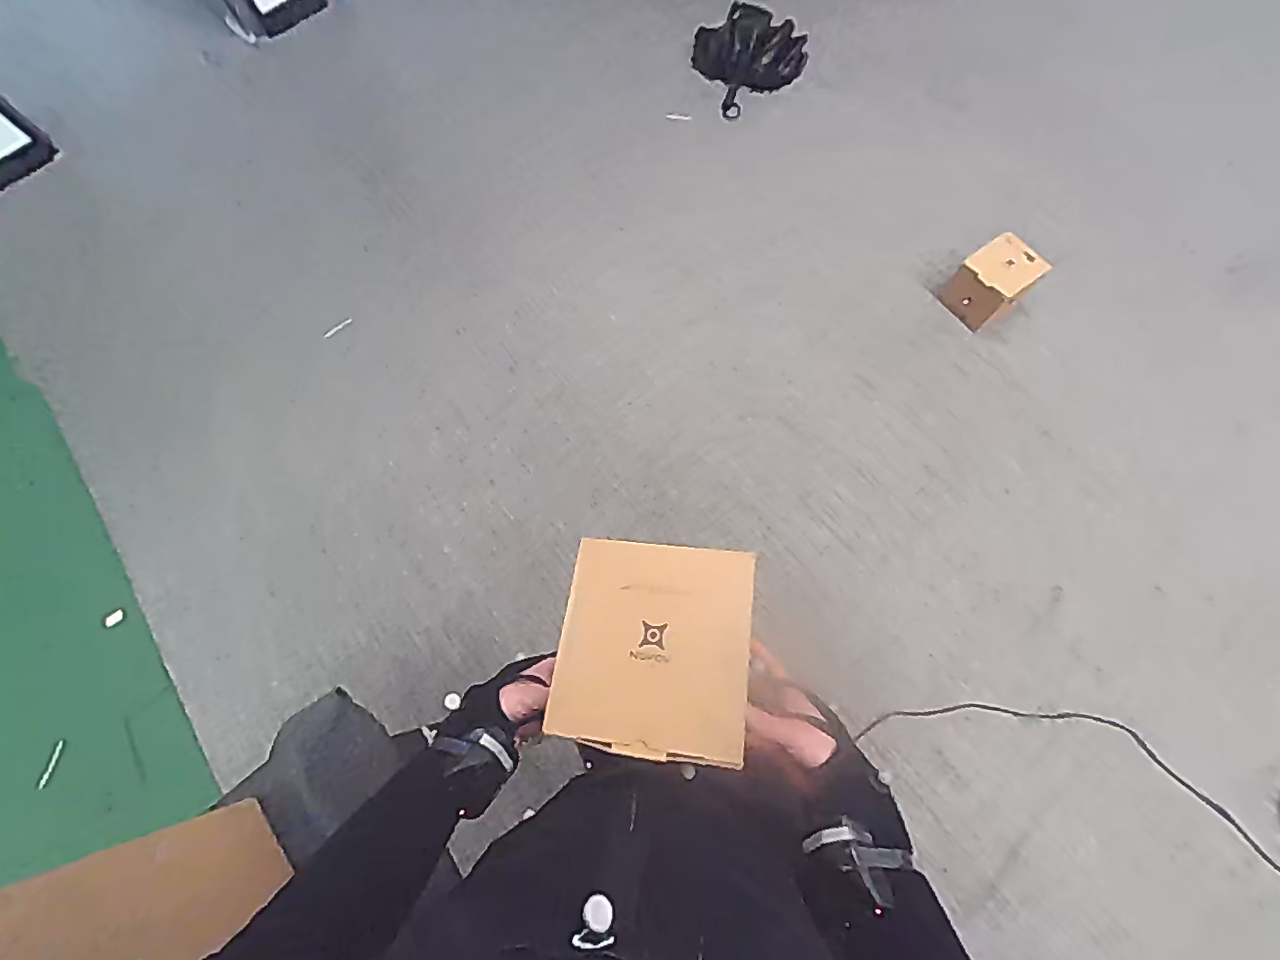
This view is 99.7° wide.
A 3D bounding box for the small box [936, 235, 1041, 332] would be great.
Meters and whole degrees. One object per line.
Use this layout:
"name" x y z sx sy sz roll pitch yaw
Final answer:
"small box" 1.017 -0.576 1.605 0.179 0.176 0.168 -35 73 -8
